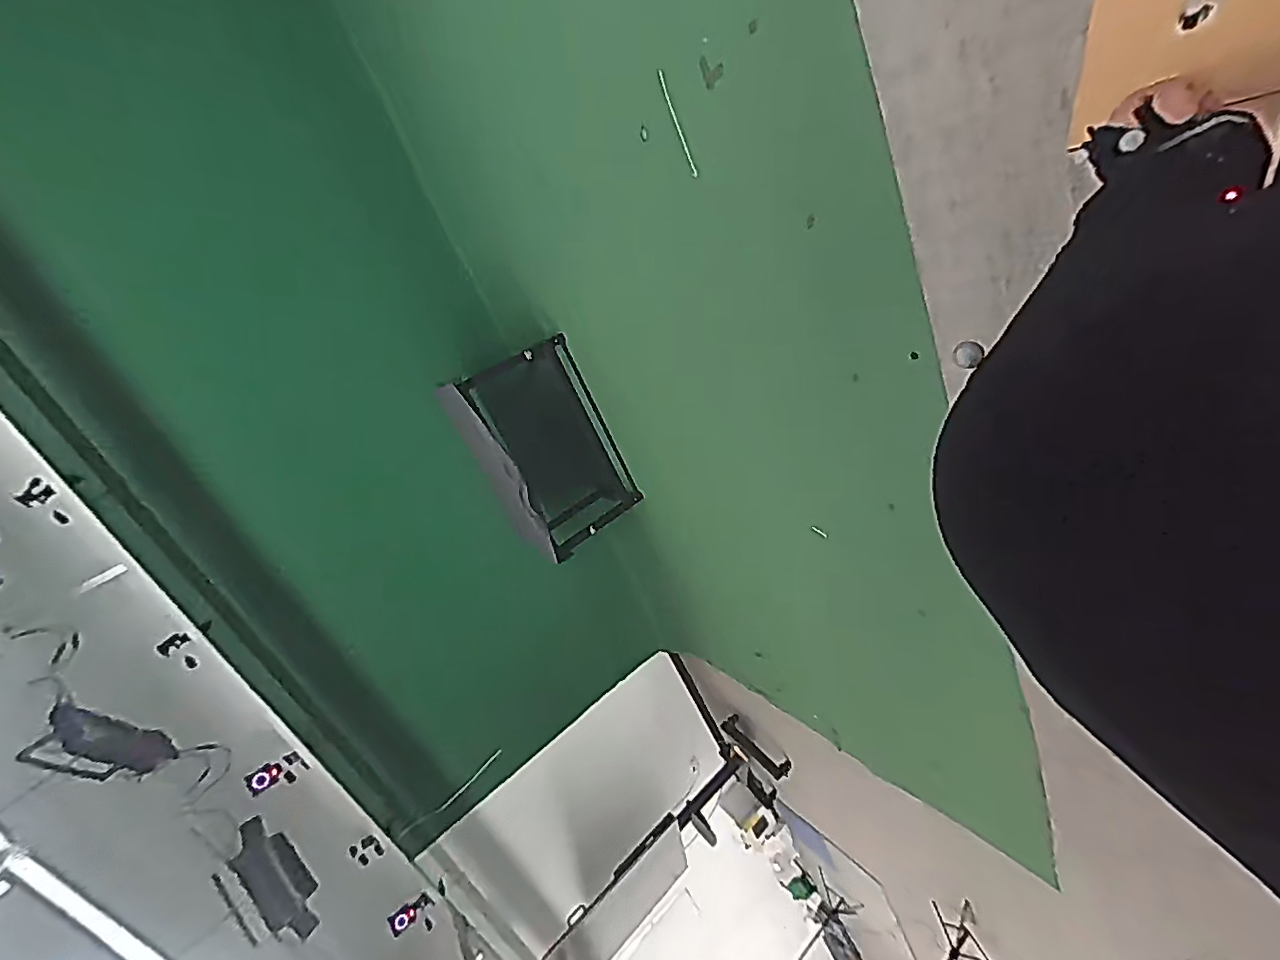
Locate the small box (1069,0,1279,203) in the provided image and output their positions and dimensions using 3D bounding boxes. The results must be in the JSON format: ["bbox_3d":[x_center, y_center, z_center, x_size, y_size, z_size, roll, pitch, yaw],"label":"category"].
[{"bbox_3d":[0.558,-0.404,0.527,0.168,0.179,0.176,15,102,56],"label":"small box"}]
